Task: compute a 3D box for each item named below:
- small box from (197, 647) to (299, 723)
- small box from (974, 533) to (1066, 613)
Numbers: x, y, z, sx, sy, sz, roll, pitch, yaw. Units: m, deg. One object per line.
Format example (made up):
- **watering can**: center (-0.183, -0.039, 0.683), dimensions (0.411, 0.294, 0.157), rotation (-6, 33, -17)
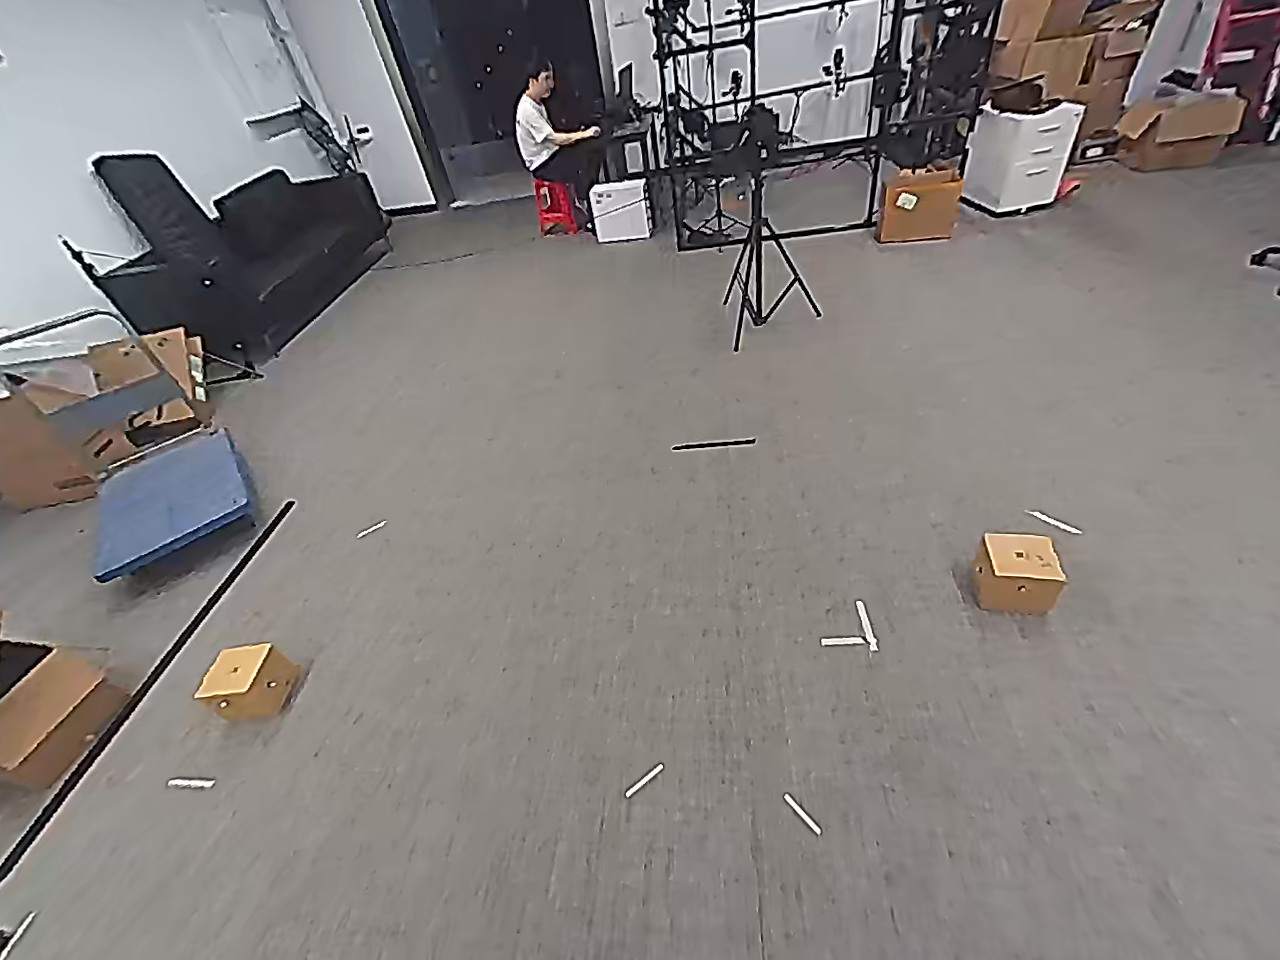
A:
- **small box**: center (-1.243, 0.659, 1.734), dimensions (0.179, 0.176, 0.168), rotation (-9, 41, 4)
- **small box**: center (1.119, 0.280, 1.613), dimensions (0.179, 0.176, 0.168), rotation (3, 44, 16)
